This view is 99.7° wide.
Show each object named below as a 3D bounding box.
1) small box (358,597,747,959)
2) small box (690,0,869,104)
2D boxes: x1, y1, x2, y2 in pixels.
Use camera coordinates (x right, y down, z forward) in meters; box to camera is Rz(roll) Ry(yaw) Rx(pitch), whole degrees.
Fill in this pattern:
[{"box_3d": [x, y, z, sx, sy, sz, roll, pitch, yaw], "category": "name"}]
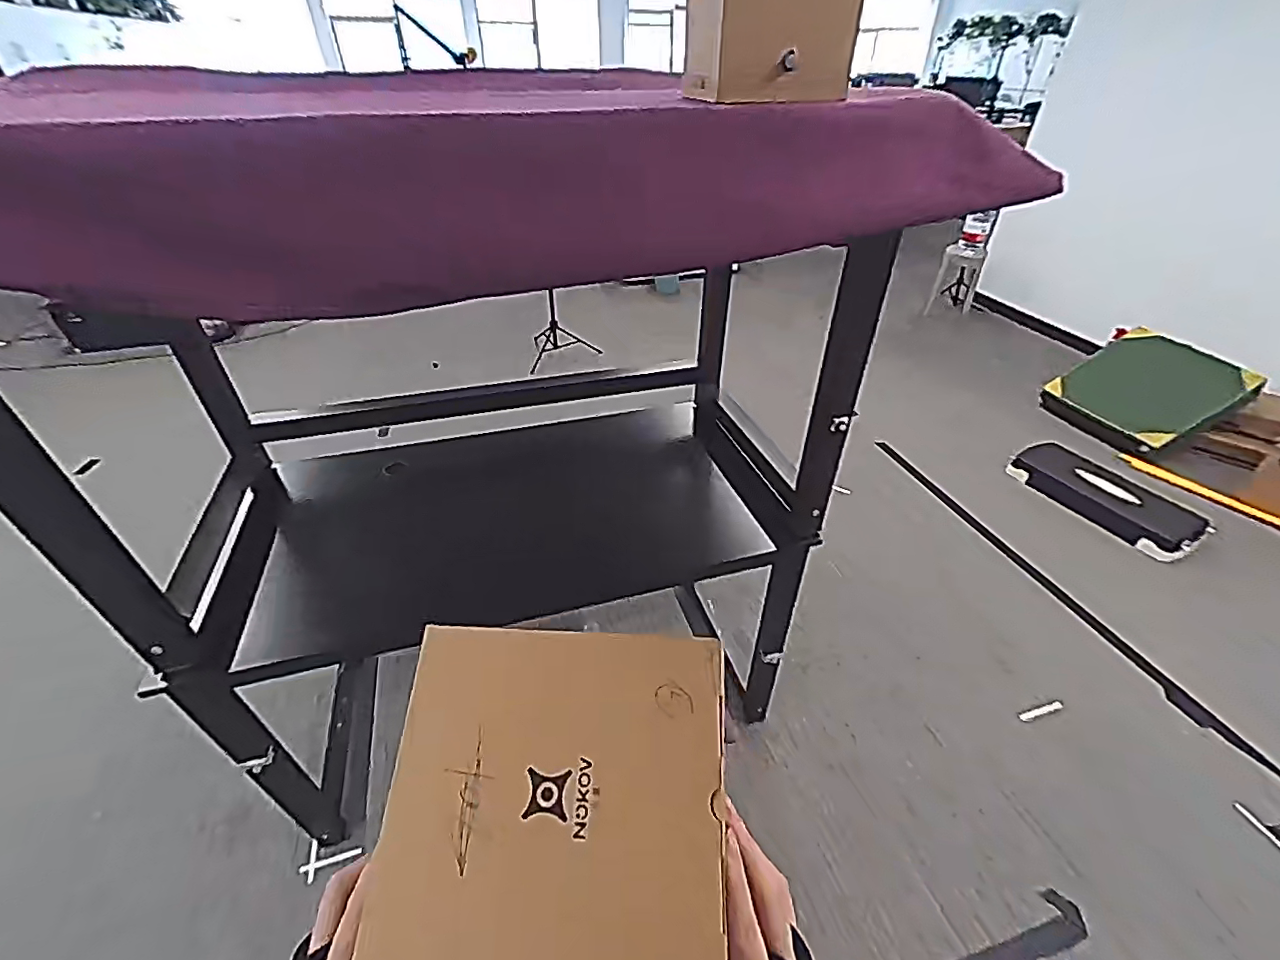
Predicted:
[{"box_3d": [-0.032, 0.179, 0.342, 0.179, 0.176, 0.168, 2, 63, 5], "category": "small box"}, {"box_3d": [0.170, -0.582, 0.679, 0.179, 0.176, 0.168, -7, 37, -9], "category": "small box"}]
